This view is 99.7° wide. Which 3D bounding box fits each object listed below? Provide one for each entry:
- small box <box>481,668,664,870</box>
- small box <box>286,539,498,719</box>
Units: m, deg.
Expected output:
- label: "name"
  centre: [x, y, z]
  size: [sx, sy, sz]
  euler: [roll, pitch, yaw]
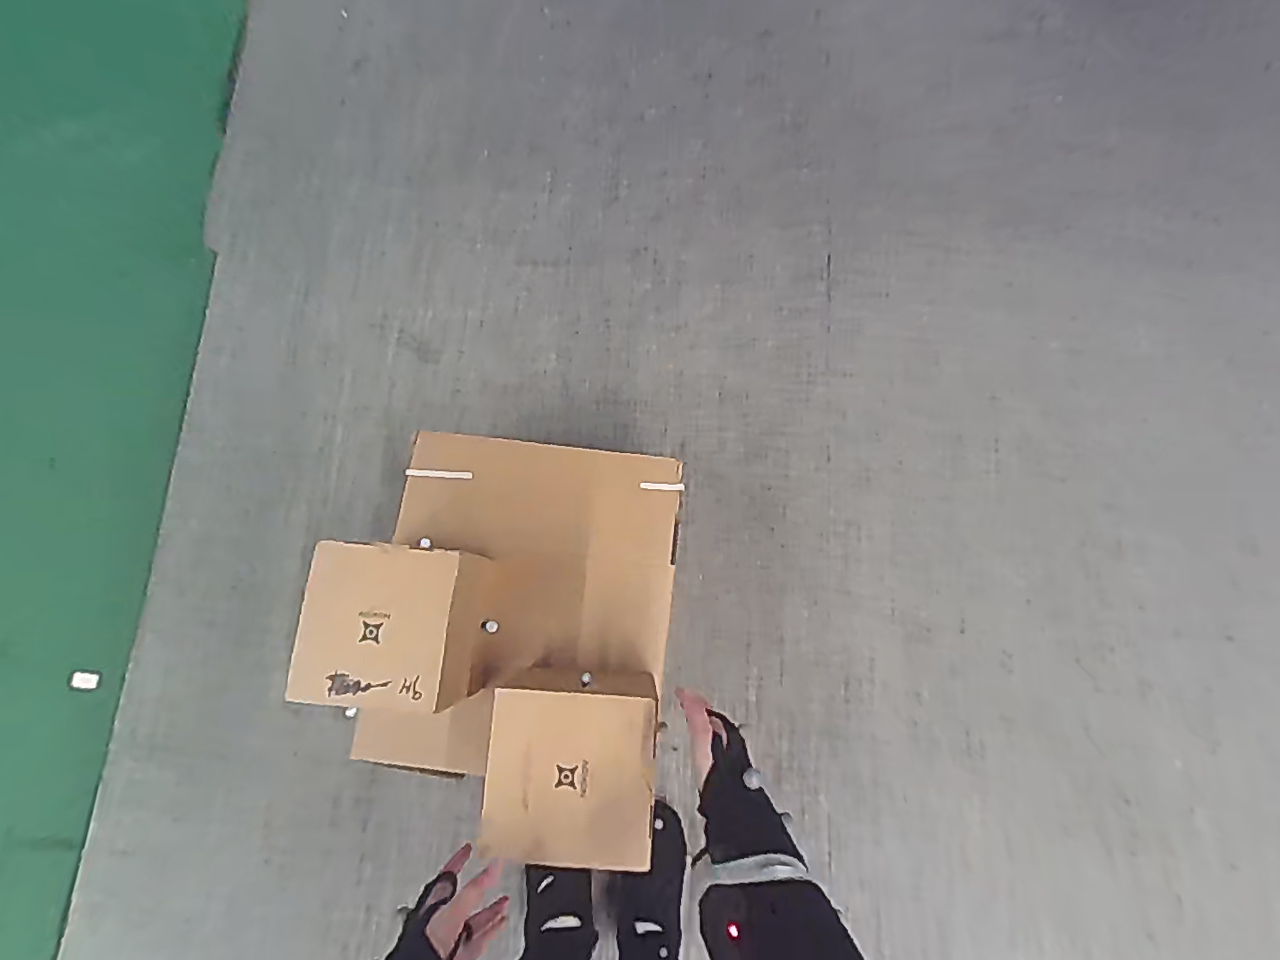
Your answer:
- label: "small box"
  centre: [-0.068, 0.319, 0.632]
  size: [0.179, 0.176, 0.168]
  euler: [4, 78, 1]
- label: "small box"
  centre: [-0.282, 0.175, 0.661]
  size: [0.168, 0.176, 0.179]
  euler: [5, 77, 2]
